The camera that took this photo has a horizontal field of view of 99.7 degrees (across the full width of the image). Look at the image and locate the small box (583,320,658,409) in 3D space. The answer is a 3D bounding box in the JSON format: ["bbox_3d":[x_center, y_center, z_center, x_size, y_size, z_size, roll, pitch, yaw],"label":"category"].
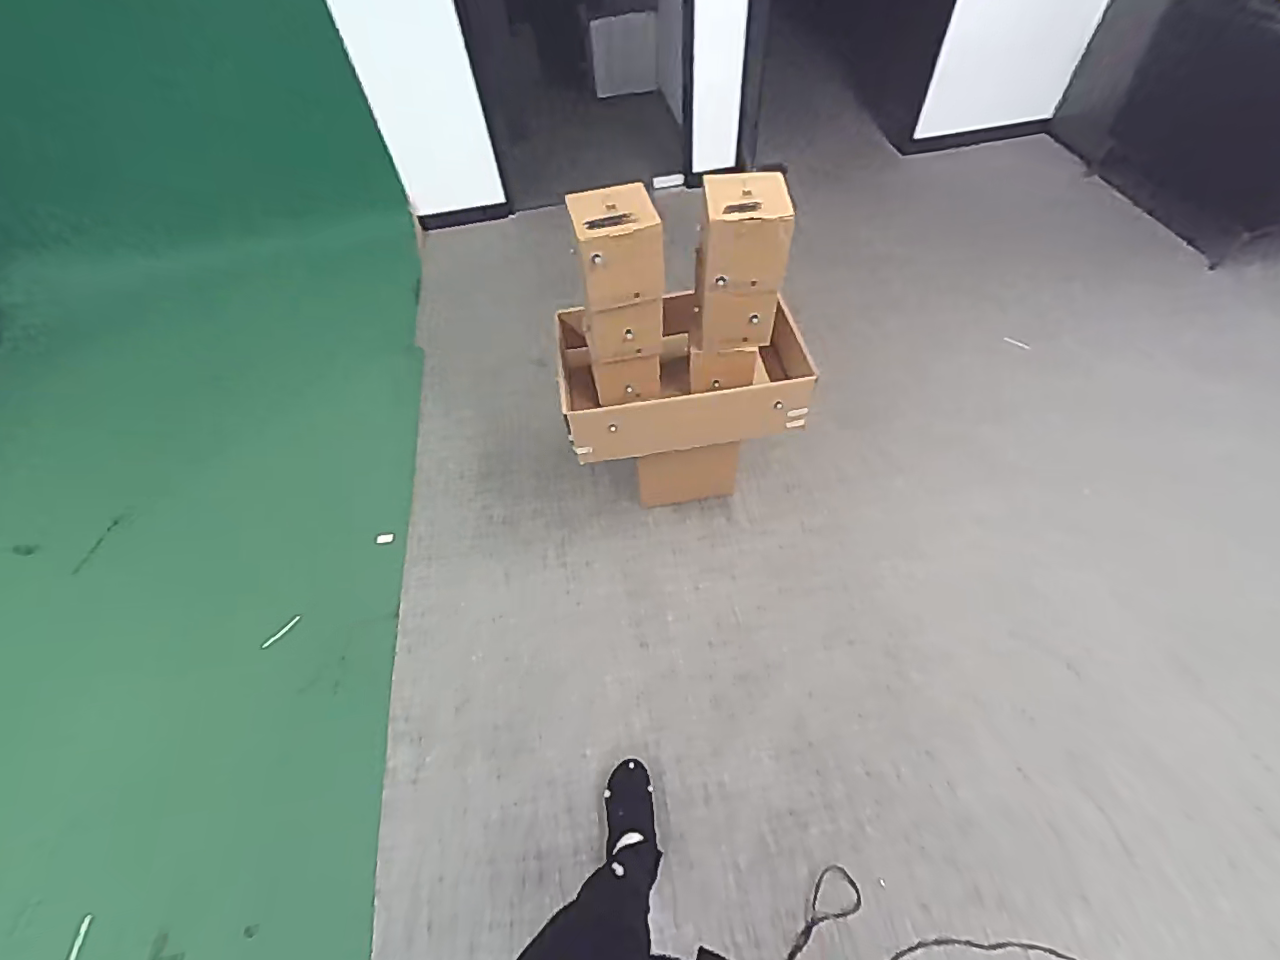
[{"bbox_3d":[-0.051,-0.314,1.425,0.168,0.176,0.179,-12,55,-4],"label":"small box"}]

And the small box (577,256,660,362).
[{"bbox_3d":[-0.048,-0.398,1.284,0.168,0.176,0.179,-11,55,-5],"label":"small box"}]

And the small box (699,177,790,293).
[{"bbox_3d":[0.214,-0.516,1.152,0.168,0.176,0.179,-1,54,2],"label":"small box"}]

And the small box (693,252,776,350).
[{"bbox_3d":[0.217,-0.424,1.288,0.168,0.176,0.179,-4,55,0],"label":"small box"}]
